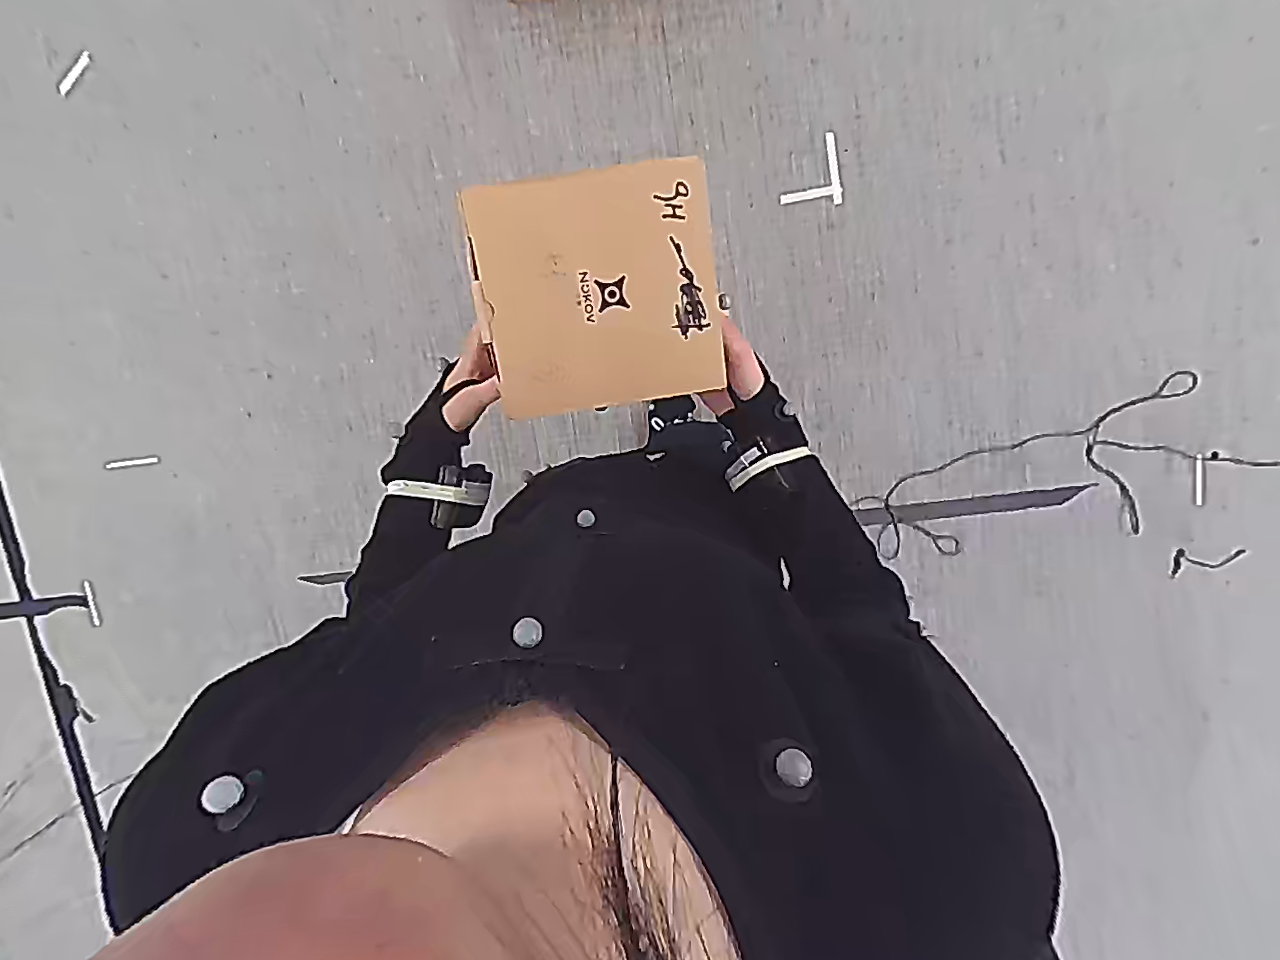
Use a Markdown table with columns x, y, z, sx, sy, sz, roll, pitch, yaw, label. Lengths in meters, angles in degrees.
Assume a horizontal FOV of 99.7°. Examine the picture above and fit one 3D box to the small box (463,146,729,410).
| x | y | z | sx | sy | sz | roll | pitch | yaw | label |
| --- | --- | --- | --- | --- | --- | --- | --- | --- | --- |
| -0.029 | -0.162 | 0.469 | 0.179 | 0.176 | 0.168 | -8 | 107 | 0 | small box |
